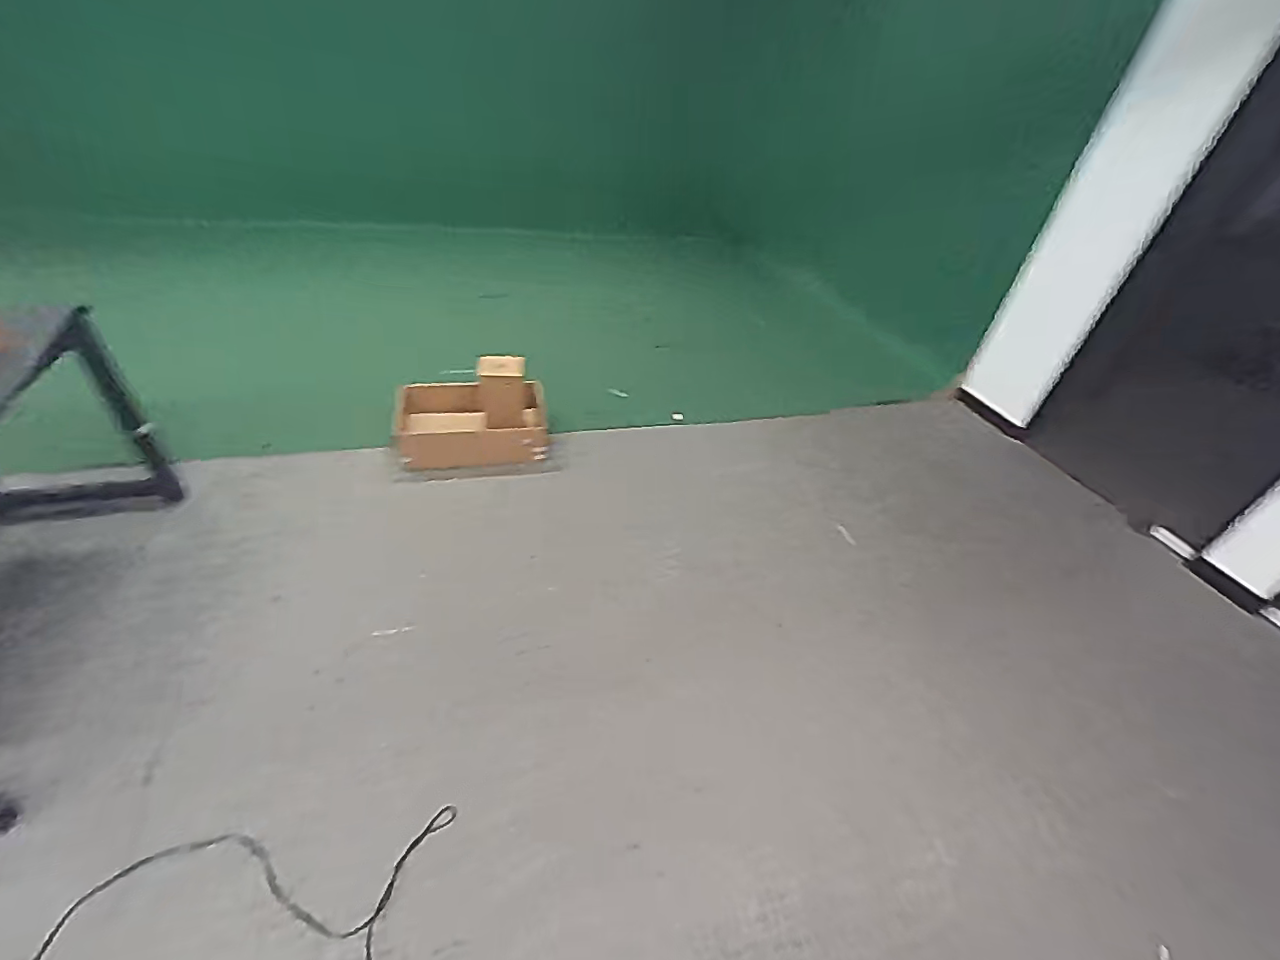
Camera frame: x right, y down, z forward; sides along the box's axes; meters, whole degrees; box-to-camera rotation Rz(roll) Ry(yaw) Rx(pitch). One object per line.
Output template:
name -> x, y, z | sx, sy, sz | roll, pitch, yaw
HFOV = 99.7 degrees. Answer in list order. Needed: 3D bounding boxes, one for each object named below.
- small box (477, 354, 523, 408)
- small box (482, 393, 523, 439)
small box -> -0.600, -0.426, 2.343 | 0.179, 0.176, 0.168 | 1, 40, -9
small box -> -0.620, -0.304, 2.451 | 0.168, 0.176, 0.179 | 0, 42, -9
